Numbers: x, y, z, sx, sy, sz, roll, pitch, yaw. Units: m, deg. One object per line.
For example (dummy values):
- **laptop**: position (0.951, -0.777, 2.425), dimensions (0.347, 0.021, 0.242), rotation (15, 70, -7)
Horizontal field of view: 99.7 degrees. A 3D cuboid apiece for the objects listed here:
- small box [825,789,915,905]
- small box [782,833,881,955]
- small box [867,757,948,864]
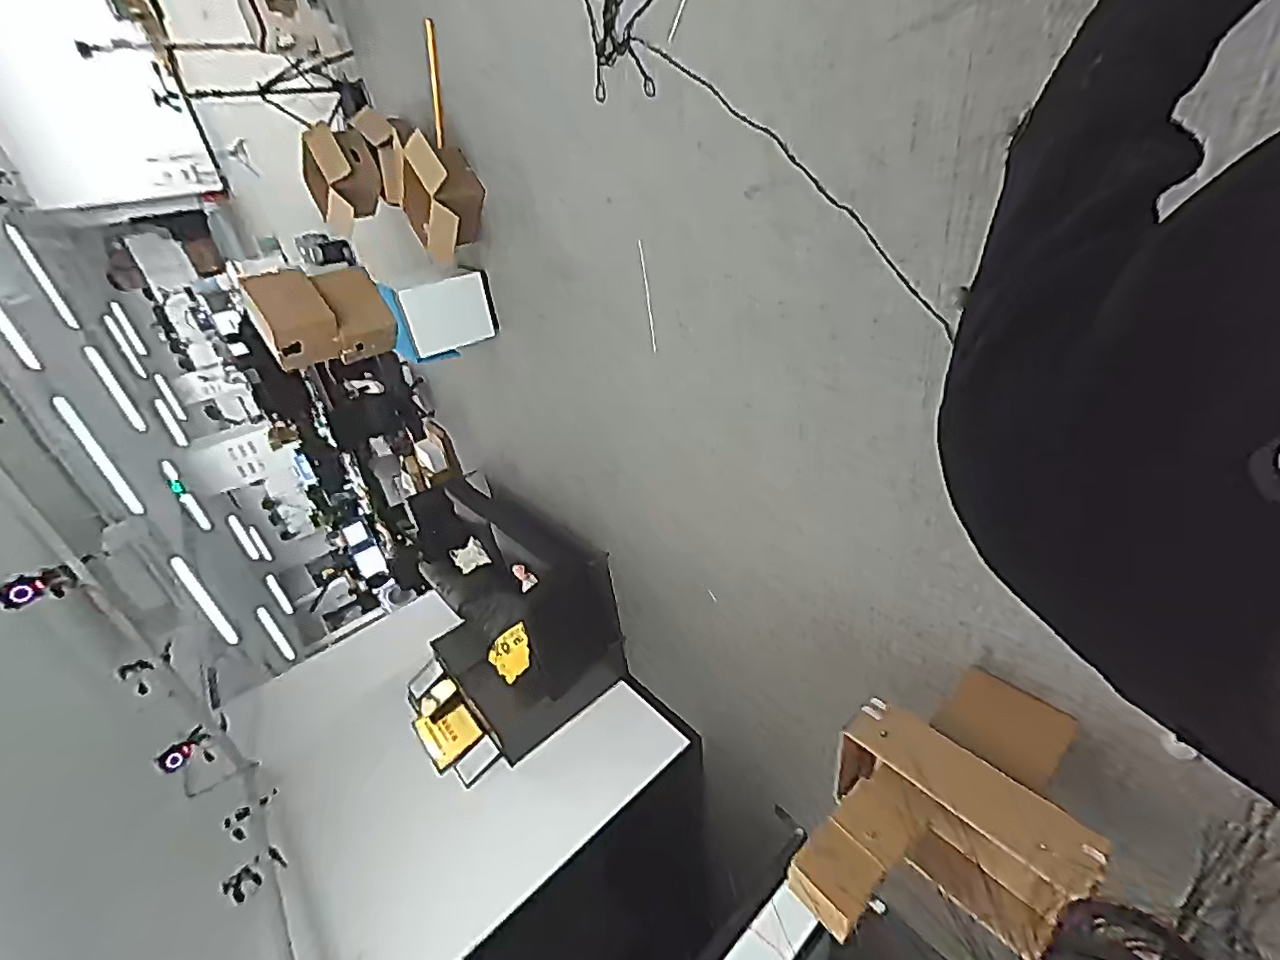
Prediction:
- **small box**: position (0.634, 1.015, 1.508), dimensions (0.179, 0.176, 0.168), rotation (32, 137, 43)
- **small box**: position (0.505, 1.083, 1.435), dimensions (0.179, 0.176, 0.168), rotation (31, 137, 42)
- **small box**: position (0.770, 0.959, 1.583), dimensions (0.168, 0.176, 0.179), rotation (33, 138, 41)
